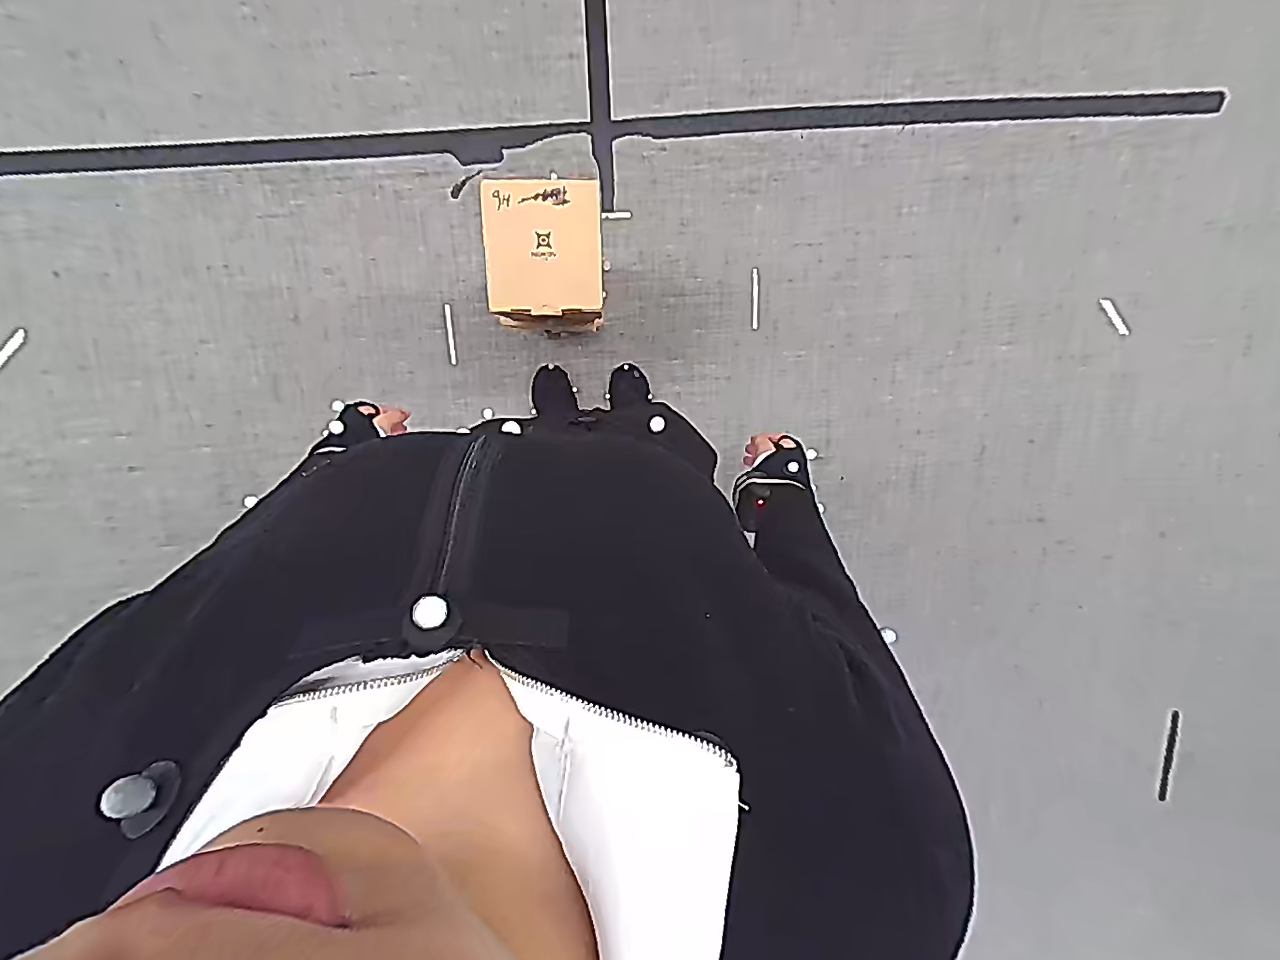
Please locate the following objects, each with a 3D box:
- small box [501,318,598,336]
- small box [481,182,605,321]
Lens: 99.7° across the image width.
[{"bbox_3d":[-0.159,-0.361,0.995,0.168,0.176,0.179,2,104,-4],"label":"small box"},{"bbox_3d":[-0.139,-0.339,0.832,0.168,0.176,0.179,-1,103,-3],"label":"small box"}]
